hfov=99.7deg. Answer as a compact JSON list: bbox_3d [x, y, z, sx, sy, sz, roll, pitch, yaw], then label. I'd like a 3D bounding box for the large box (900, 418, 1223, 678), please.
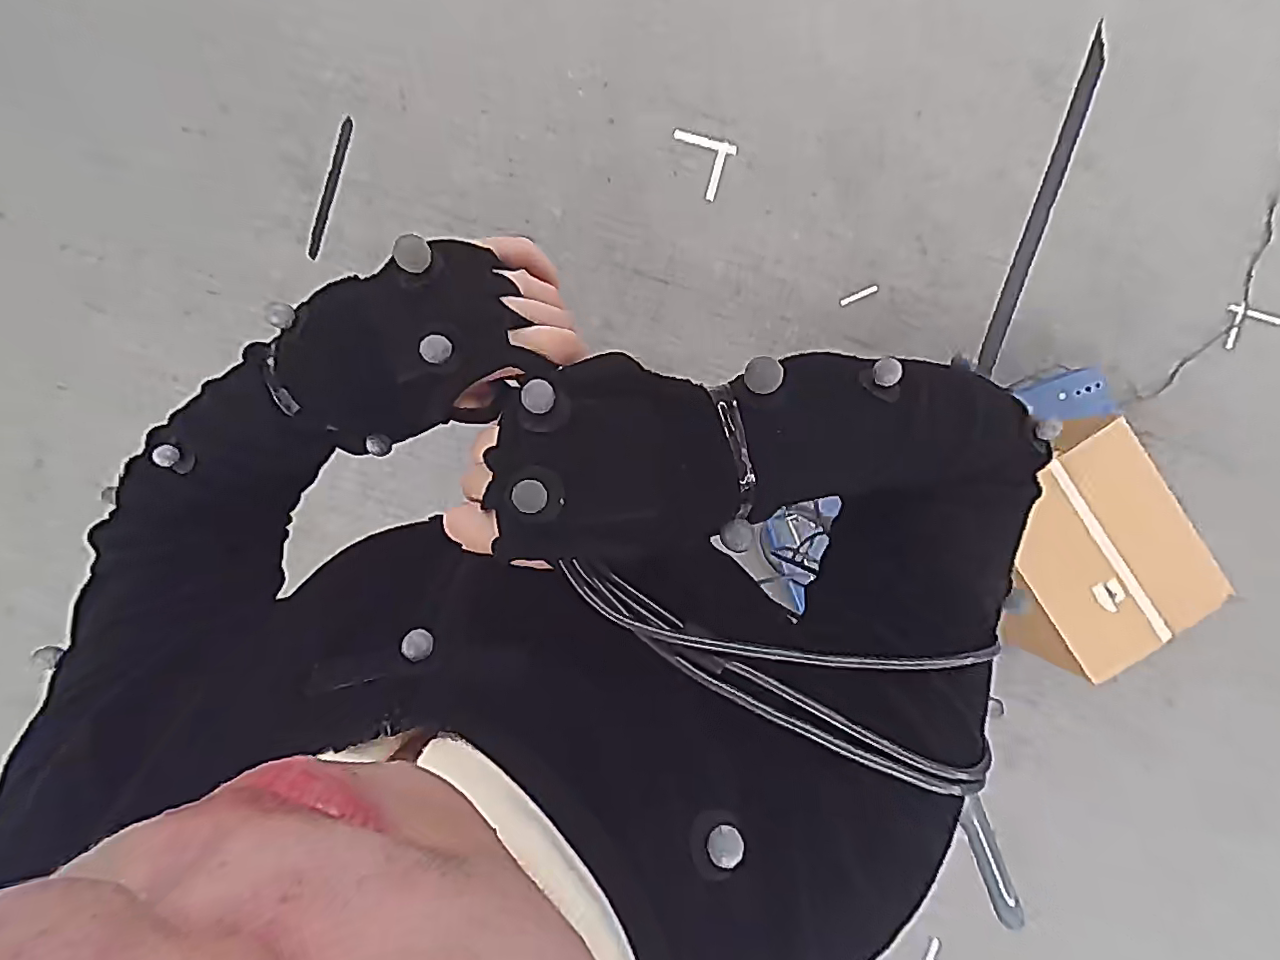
[{"bbox_3d":[0.852,0.122,1.152,0.320,0.320,0.408,-33,92,2],"label":"large box"}]
